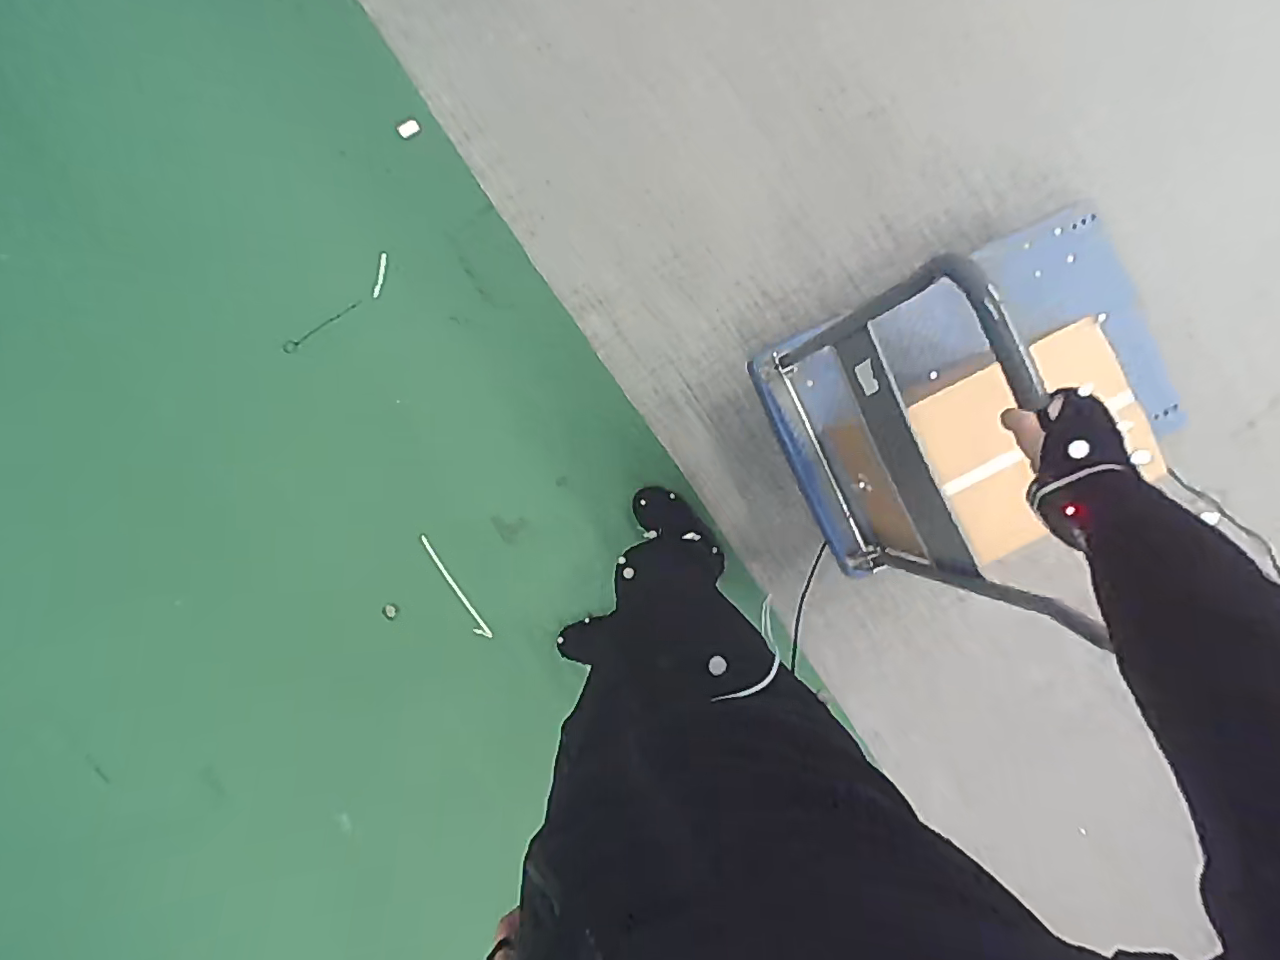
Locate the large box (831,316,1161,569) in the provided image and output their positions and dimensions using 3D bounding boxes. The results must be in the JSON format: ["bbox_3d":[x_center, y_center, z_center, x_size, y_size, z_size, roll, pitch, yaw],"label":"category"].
[{"bbox_3d":[0.682,-0.066,1.104,0.408,0.320,0.320,-27,92,-1],"label":"large box"}]
